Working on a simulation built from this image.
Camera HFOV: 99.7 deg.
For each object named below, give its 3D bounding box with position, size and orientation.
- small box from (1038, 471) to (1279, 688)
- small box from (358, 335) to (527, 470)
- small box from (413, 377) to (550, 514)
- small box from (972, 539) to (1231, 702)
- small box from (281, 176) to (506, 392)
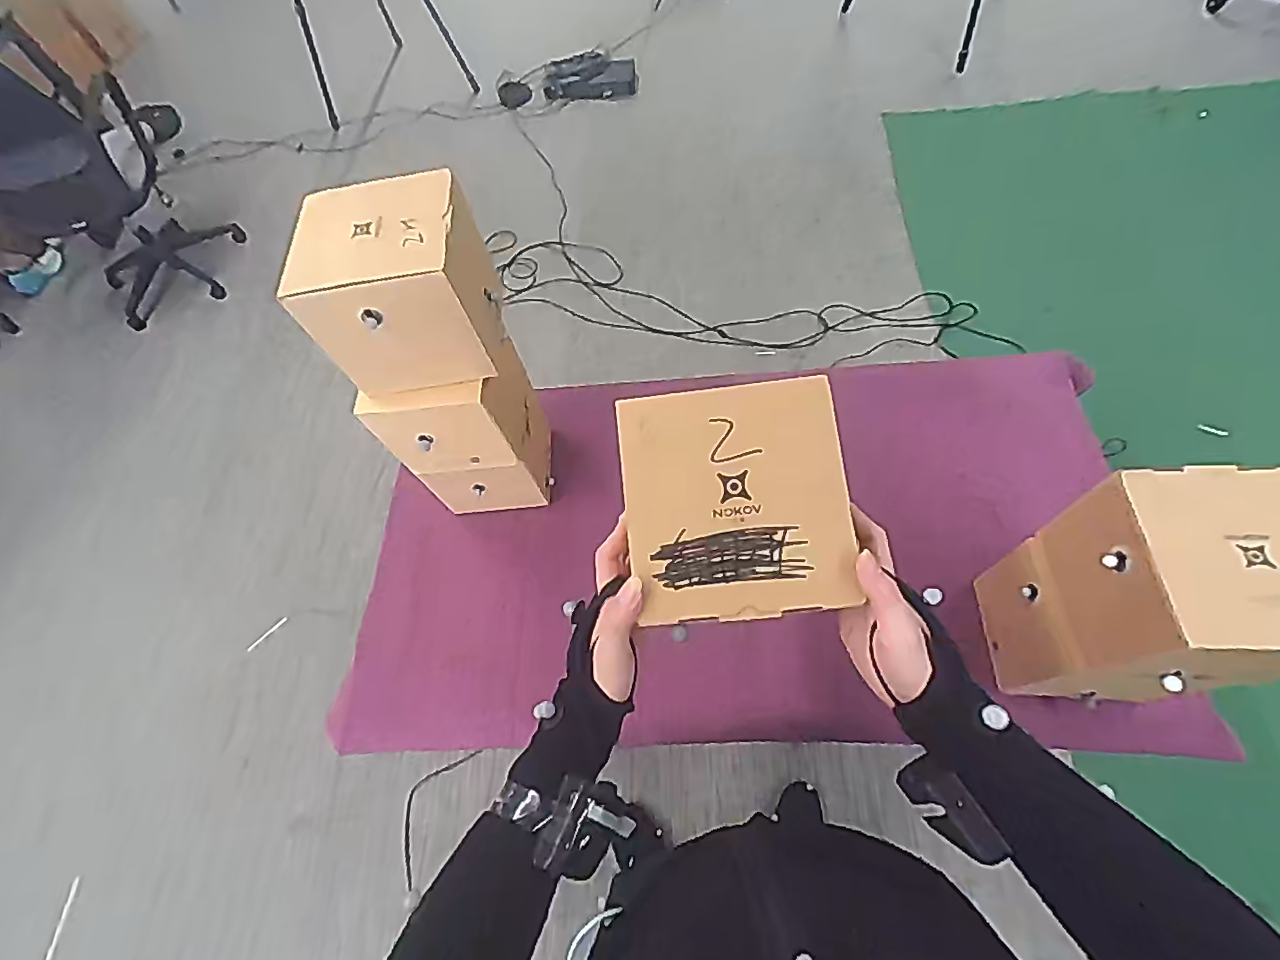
[{"bbox_3d":[0.555,0.106,0.558,0.168,0.176,0.179,0,62,9],"label":"small box"},{"bbox_3d":[-0.269,-0.124,0.779,0.168,0.176,0.179,-5,61,4],"label":"small box"},{"bbox_3d":[-0.257,-0.053,0.925,0.179,0.176,0.168,-6,62,4],"label":"small box"},{"bbox_3d":[0.570,0.187,0.699,0.179,0.176,0.168,1,61,7],"label":"small box"},{"bbox_3d":[-0.274,-0.223,0.646,0.179,0.176,0.168,-8,62,2],"label":"small box"}]
